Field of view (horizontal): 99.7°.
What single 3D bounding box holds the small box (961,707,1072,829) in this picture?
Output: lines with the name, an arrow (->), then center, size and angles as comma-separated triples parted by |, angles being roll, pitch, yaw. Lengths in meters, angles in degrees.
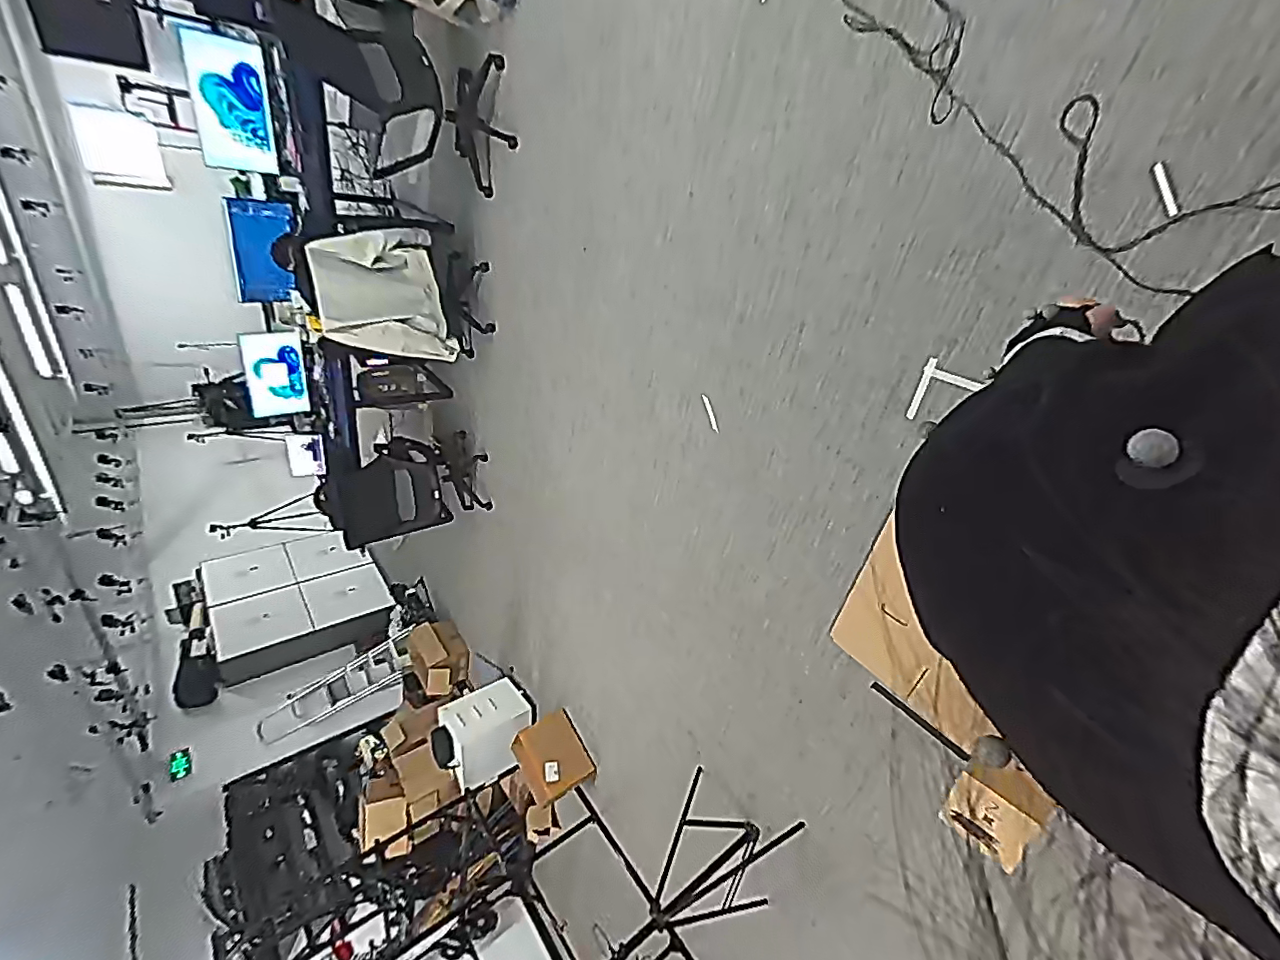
small box -> 0.961, 0.726, 1.378 | 0.168, 0.176, 0.179 | 28, 122, 42
